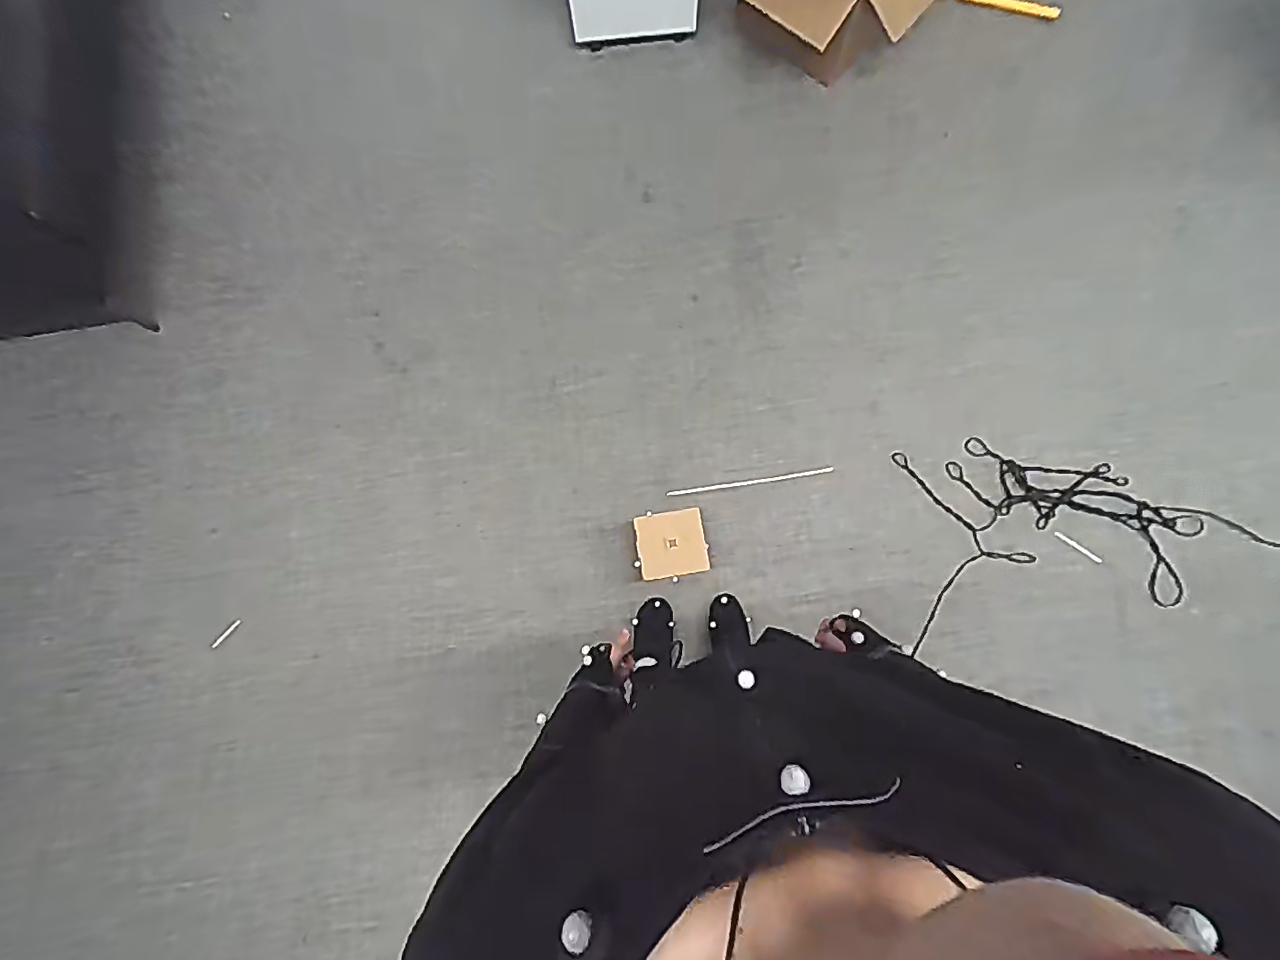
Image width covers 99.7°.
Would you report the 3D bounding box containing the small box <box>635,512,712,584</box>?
[{"bbox_3d":[0.089,0.186,1.441,0.179,0.176,0.168,-9,80,1],"label":"small box"}]
